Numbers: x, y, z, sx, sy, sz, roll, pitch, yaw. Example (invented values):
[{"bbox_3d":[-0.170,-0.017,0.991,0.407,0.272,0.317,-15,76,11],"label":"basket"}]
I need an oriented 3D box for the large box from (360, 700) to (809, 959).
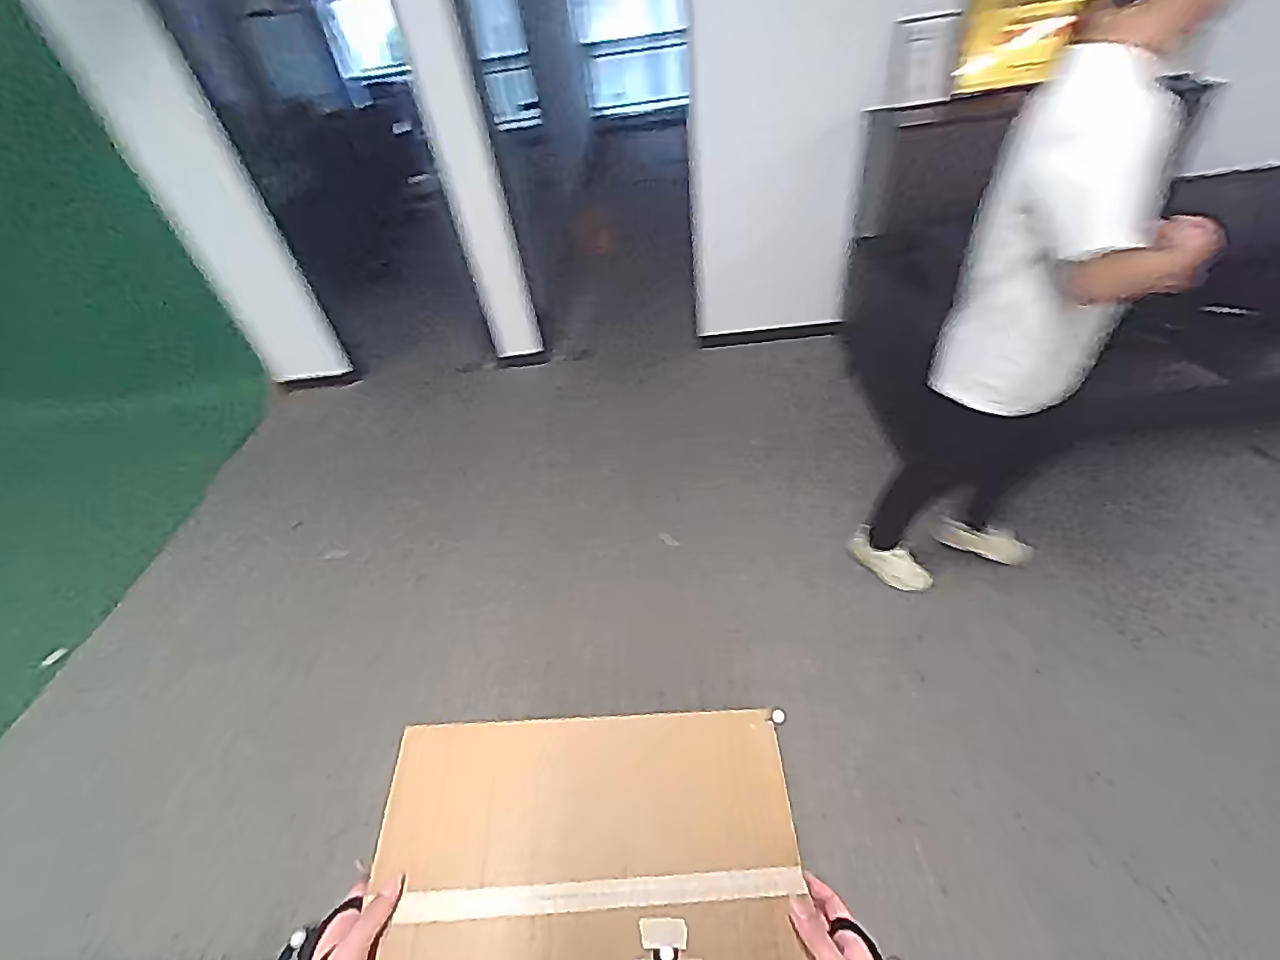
[{"bbox_3d":[-0.058,0.477,0.626,0.408,0.320,0.320,-2,50,-4],"label":"large box"}]
